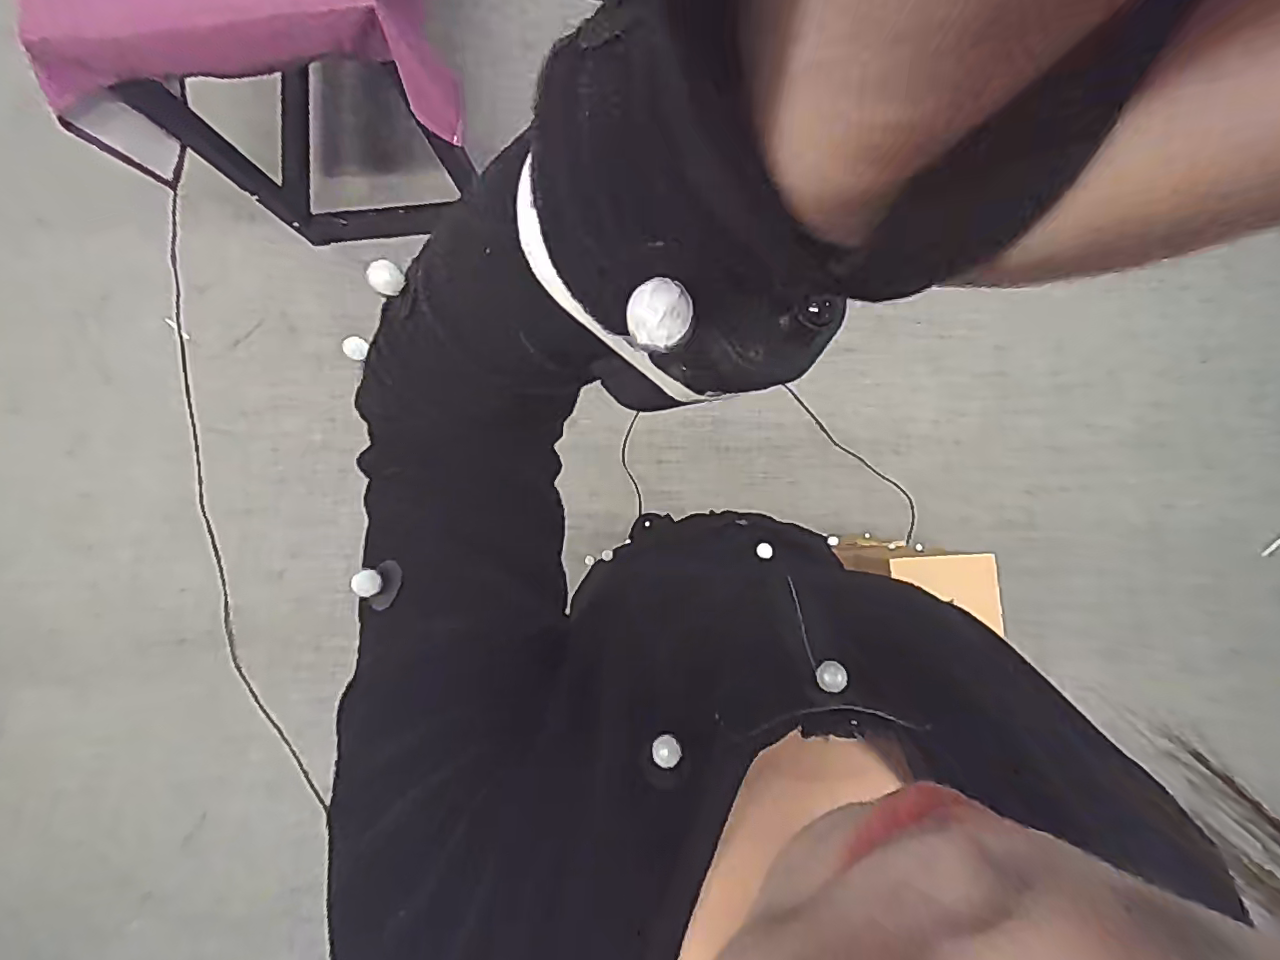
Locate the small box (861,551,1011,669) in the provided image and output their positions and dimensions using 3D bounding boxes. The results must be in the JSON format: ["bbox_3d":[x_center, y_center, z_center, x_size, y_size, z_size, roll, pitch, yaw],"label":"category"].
[{"bbox_3d":[0.487,0.211,0.917,0.168,0.176,0.179,-3,85,3],"label":"small box"}]

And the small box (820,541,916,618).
[{"bbox_3d":[0.523,0.231,1.242,0.168,0.176,0.179,-4,86,3],"label":"small box"}]

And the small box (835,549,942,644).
[{"bbox_3d":[0.500,0.226,1.080,0.179,0.176,0.168,-4,85,2],"label":"small box"}]
